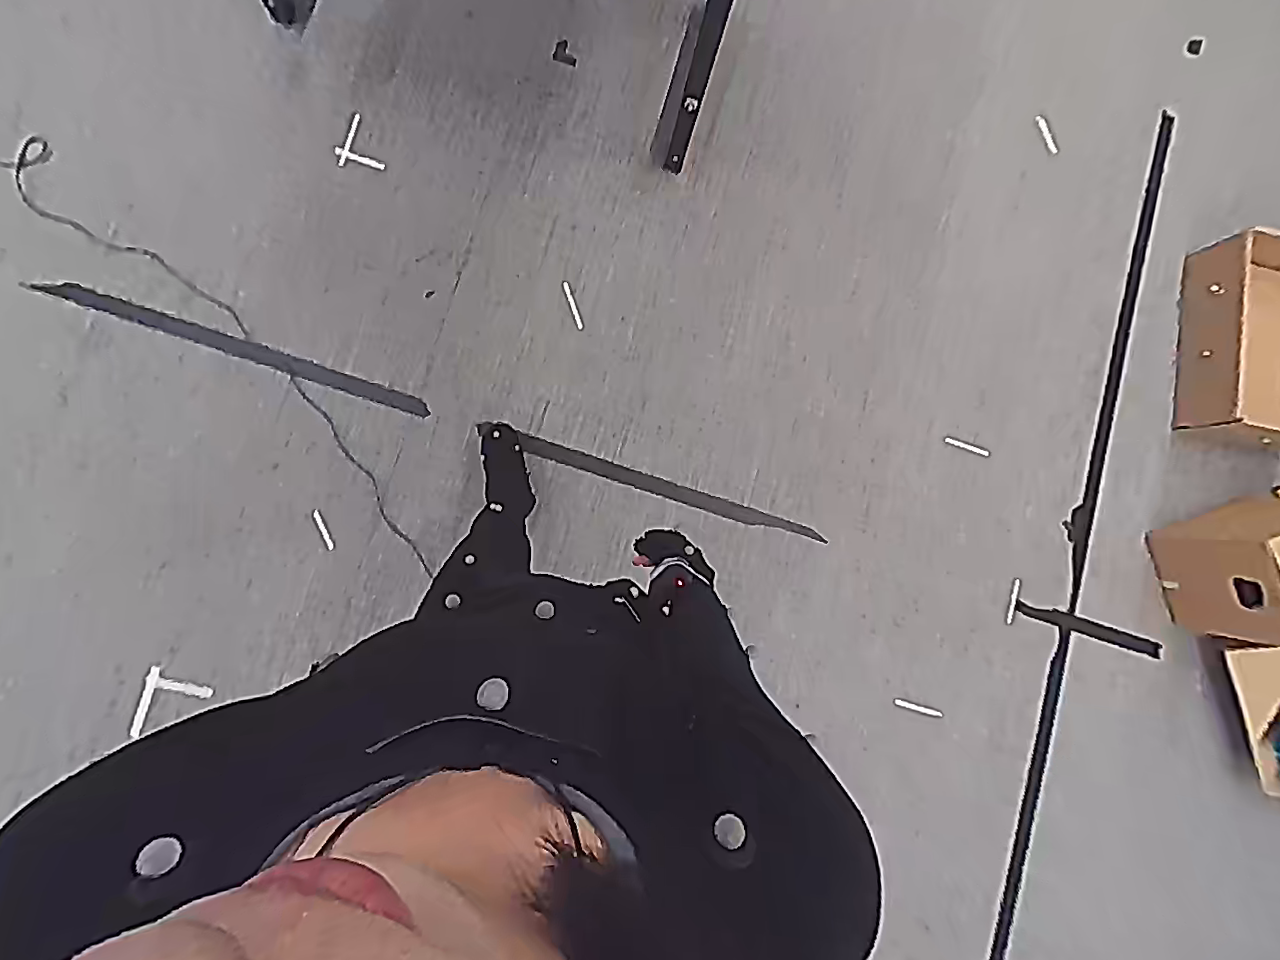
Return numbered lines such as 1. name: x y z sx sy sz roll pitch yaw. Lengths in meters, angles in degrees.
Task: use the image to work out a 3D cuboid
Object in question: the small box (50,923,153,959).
1. small box: -1.234 1.141 1.205 0.179 0.176 0.168 -8 87 -7
